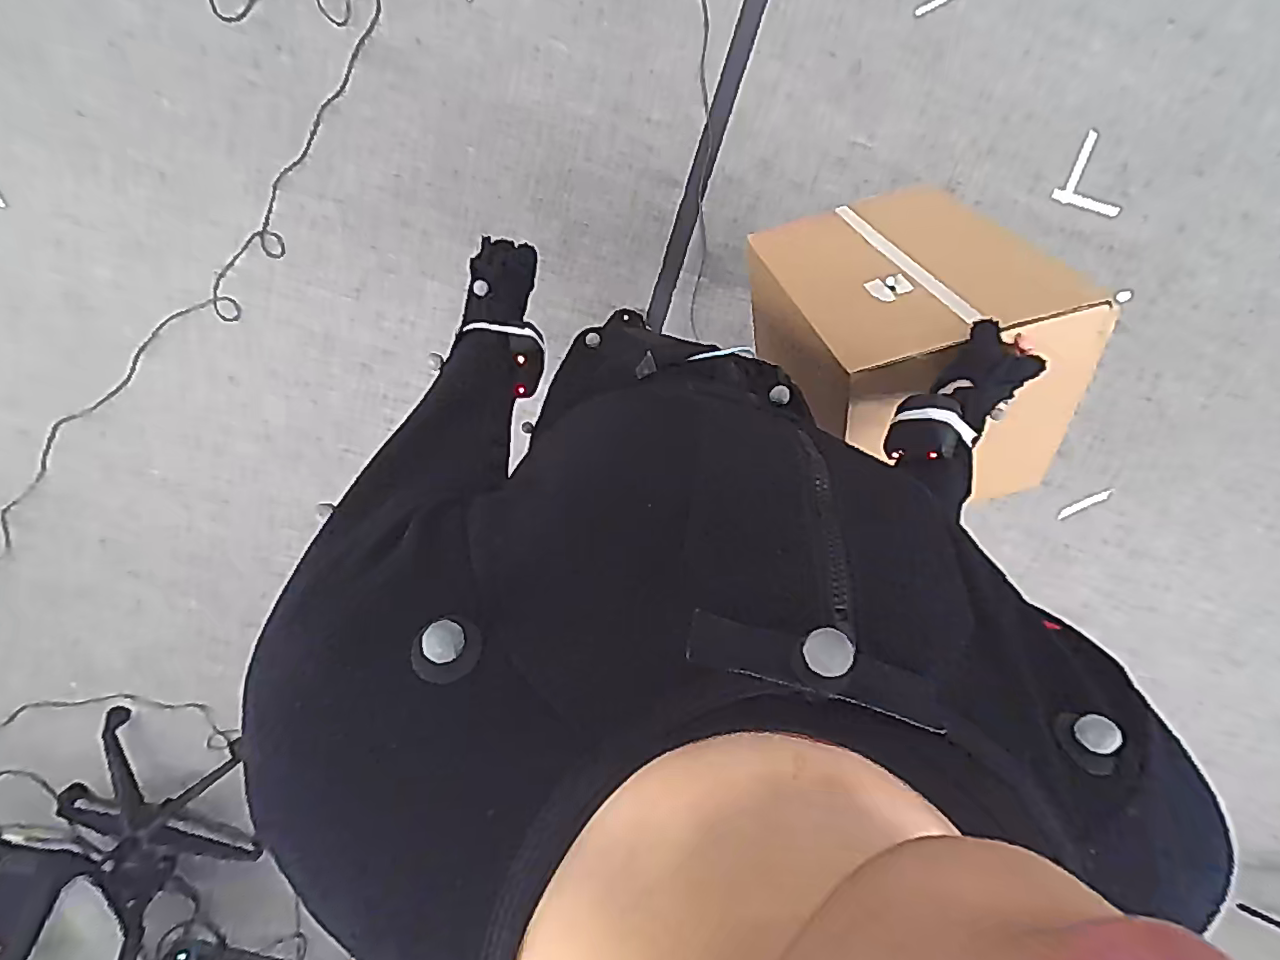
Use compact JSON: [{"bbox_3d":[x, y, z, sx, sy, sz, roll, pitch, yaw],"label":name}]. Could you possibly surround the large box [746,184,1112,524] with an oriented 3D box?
[{"bbox_3d":[0.383,-0.204,0.857,0.320,0.408,0.320,-16,137,3],"label":"large box"}]
